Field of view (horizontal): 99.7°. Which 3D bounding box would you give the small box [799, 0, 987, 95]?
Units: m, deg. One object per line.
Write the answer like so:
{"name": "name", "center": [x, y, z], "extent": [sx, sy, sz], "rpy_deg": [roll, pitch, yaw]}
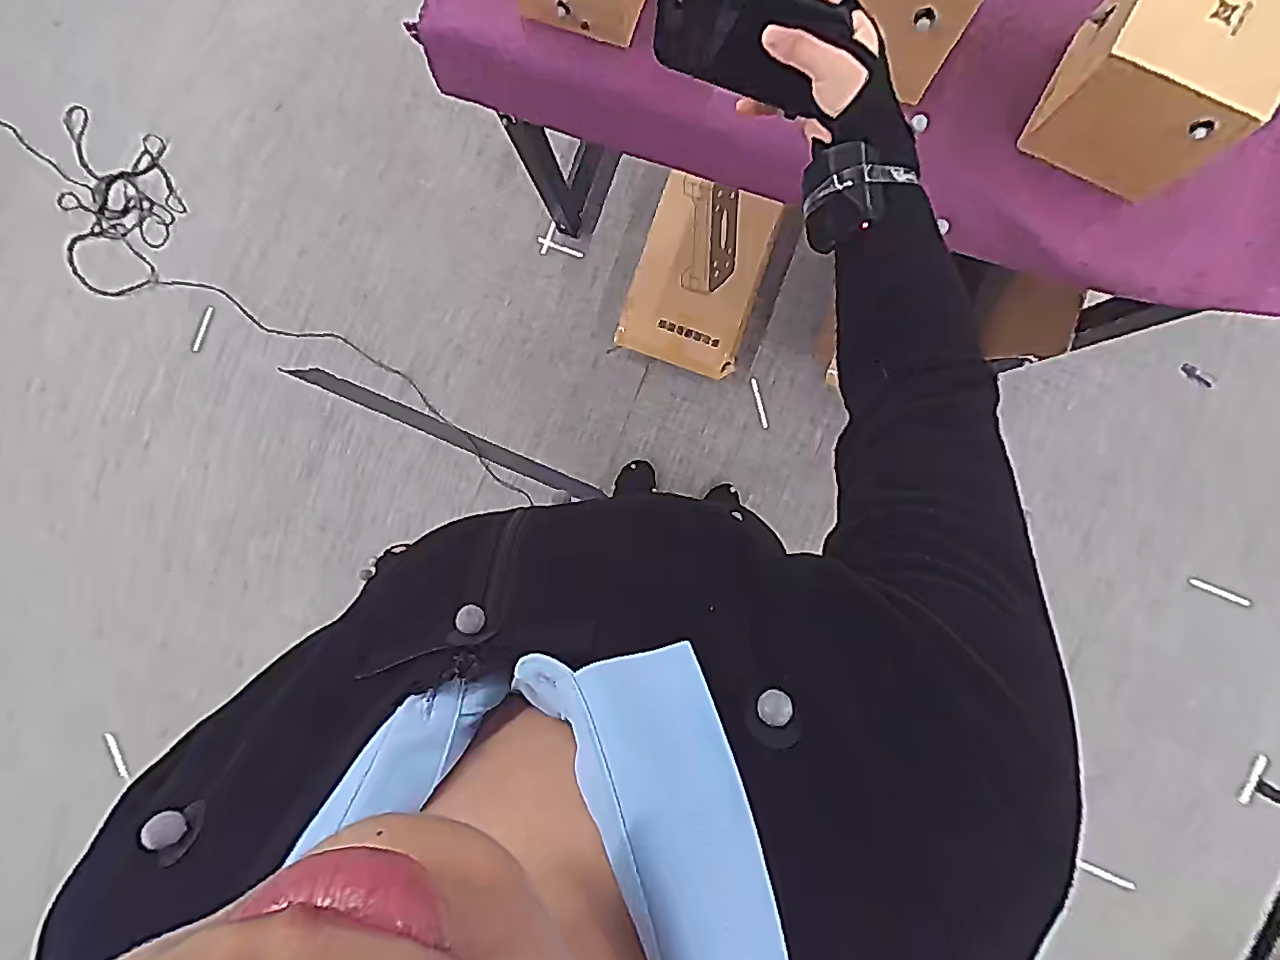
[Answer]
{"name": "small box", "center": [0.313, -0.605, 0.640], "extent": [0.179, 0.176, 0.168], "rpy_deg": [20, 90, 4]}

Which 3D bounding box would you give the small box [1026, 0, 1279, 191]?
{"name": "small box", "center": [0.603, -0.474, 0.623], "extent": [0.179, 0.176, 0.168], "rpy_deg": [27, 93, 3]}
